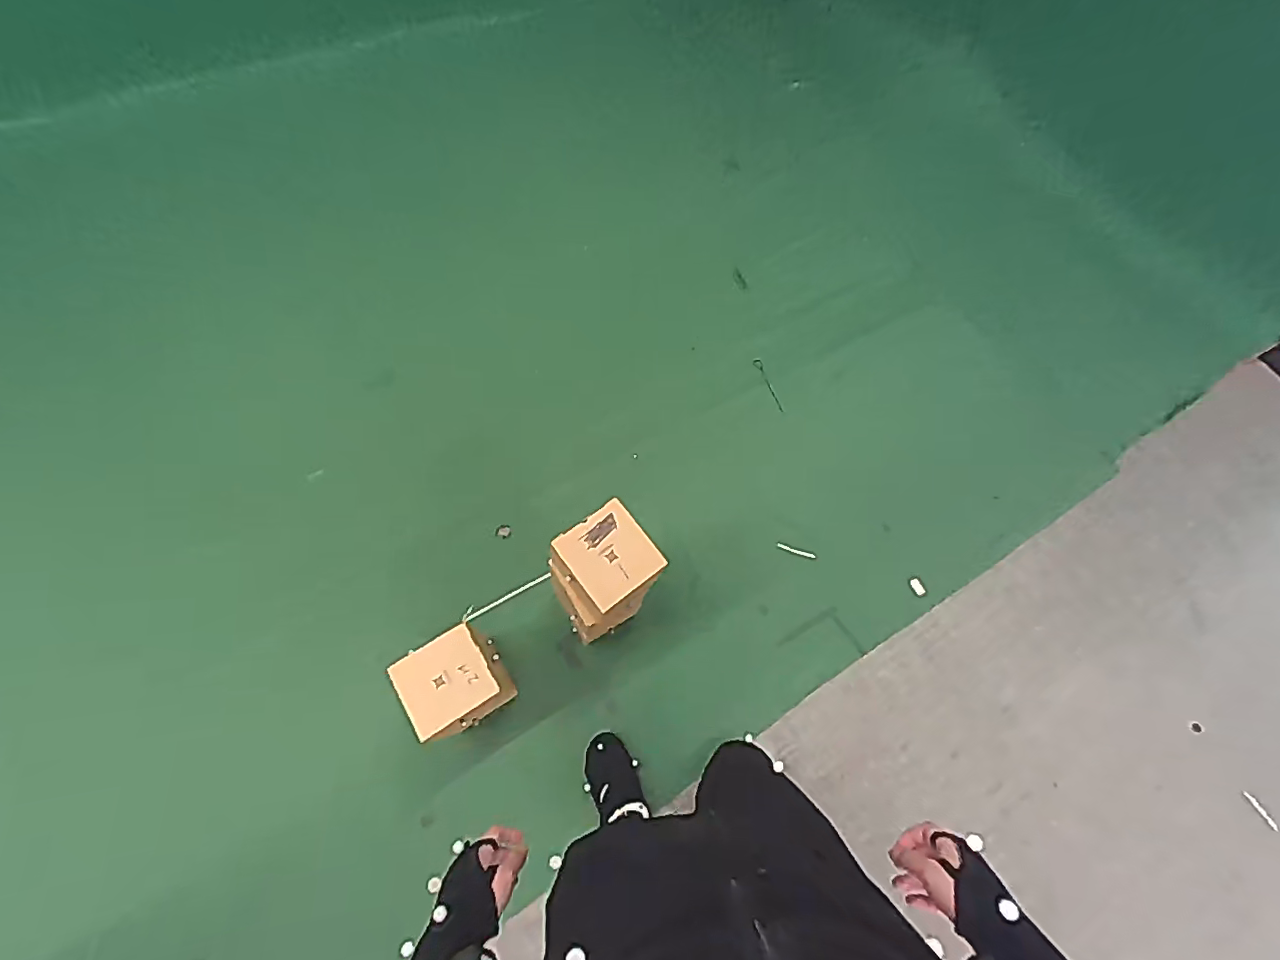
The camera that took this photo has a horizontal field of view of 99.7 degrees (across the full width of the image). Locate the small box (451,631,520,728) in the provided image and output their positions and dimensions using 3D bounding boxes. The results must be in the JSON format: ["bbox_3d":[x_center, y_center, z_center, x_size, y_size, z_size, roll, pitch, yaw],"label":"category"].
[{"bbox_3d":[-0.412,0.480,1.328,0.168,0.176,0.179,-30,73,-15],"label":"small box"}]

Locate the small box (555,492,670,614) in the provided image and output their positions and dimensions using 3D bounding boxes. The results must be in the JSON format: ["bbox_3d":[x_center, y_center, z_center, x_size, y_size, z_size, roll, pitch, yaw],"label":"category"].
[{"bbox_3d":[-0.065,0.159,1.136,0.168,0.176,0.179,-35,77,-18],"label":"small box"}]

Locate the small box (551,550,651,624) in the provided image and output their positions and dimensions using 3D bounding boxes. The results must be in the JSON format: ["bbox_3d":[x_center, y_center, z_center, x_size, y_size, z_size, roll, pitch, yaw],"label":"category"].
[{"bbox_3d":[-0.095,0.226,1.282,0.168,0.176,0.179,-29,74,-17],"label":"small box"}]

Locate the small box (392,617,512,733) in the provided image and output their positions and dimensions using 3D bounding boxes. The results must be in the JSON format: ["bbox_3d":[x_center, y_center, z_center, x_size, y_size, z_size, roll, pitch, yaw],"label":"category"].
[{"bbox_3d":[-0.398,0.424,1.174,0.179,0.176,0.168,-30,74,-16],"label":"small box"}]
